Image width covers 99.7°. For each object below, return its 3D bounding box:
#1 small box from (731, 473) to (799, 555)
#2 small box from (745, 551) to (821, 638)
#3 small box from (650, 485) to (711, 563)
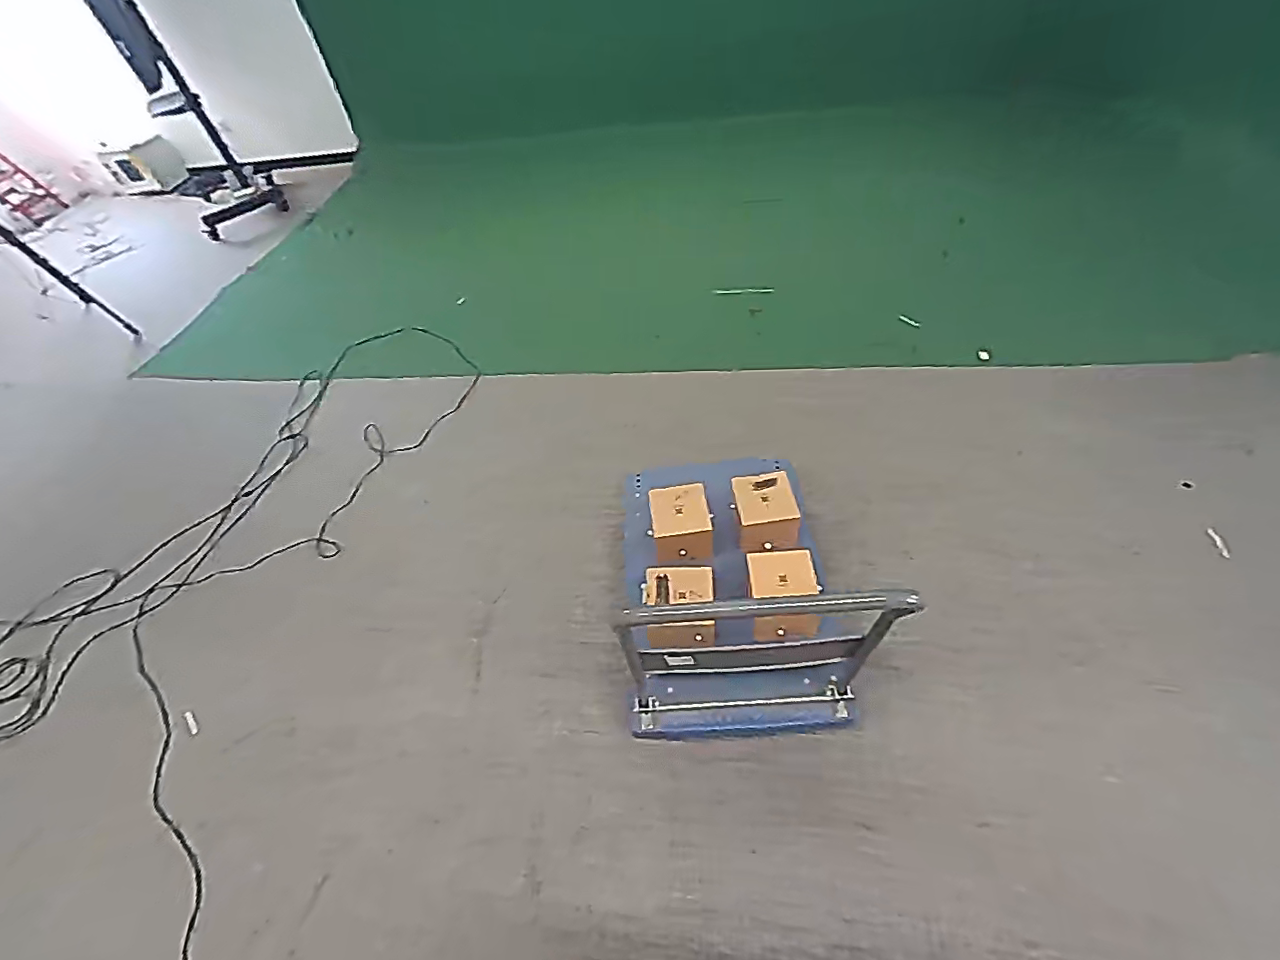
[{"bbox_3d":[0.374,0.105,1.649,0.168,0.176,0.179,-8,51,3],"label":"small box"},{"bbox_3d":[0.382,0.314,1.477,0.168,0.176,0.179,-4,51,4],"label":"small box"},{"bbox_3d":[0.125,0.142,1.656,0.168,0.176,0.179,-7,50,1],"label":"small box"}]
